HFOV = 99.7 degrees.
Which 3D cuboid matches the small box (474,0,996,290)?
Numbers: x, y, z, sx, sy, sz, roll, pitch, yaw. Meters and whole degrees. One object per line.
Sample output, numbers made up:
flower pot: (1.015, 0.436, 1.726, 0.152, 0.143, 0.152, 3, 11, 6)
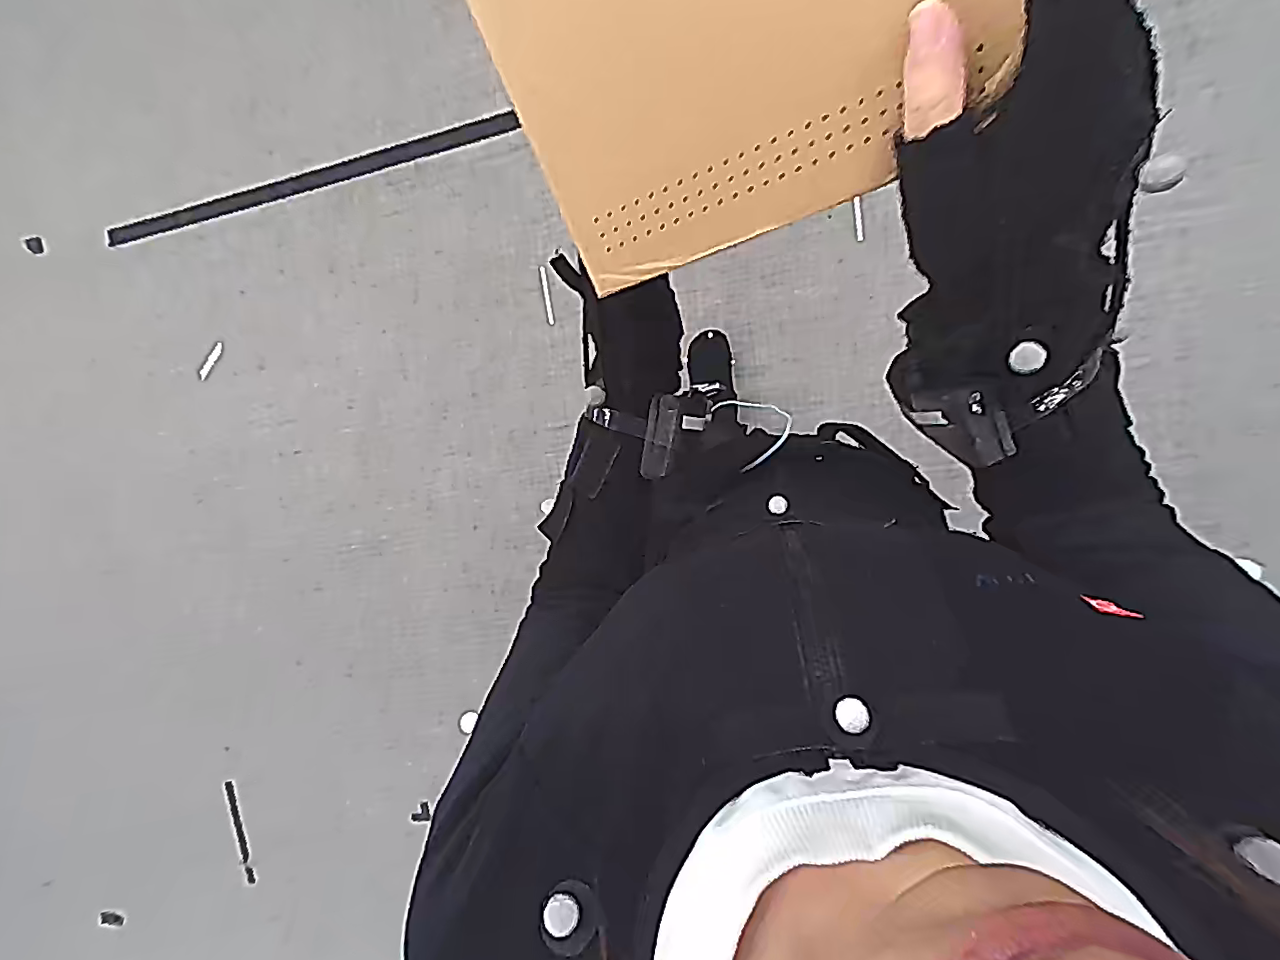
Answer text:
small box: (0.039, -0.213, 0.252, 0.179, 0.168, 0.176, -13, 124, 21)
